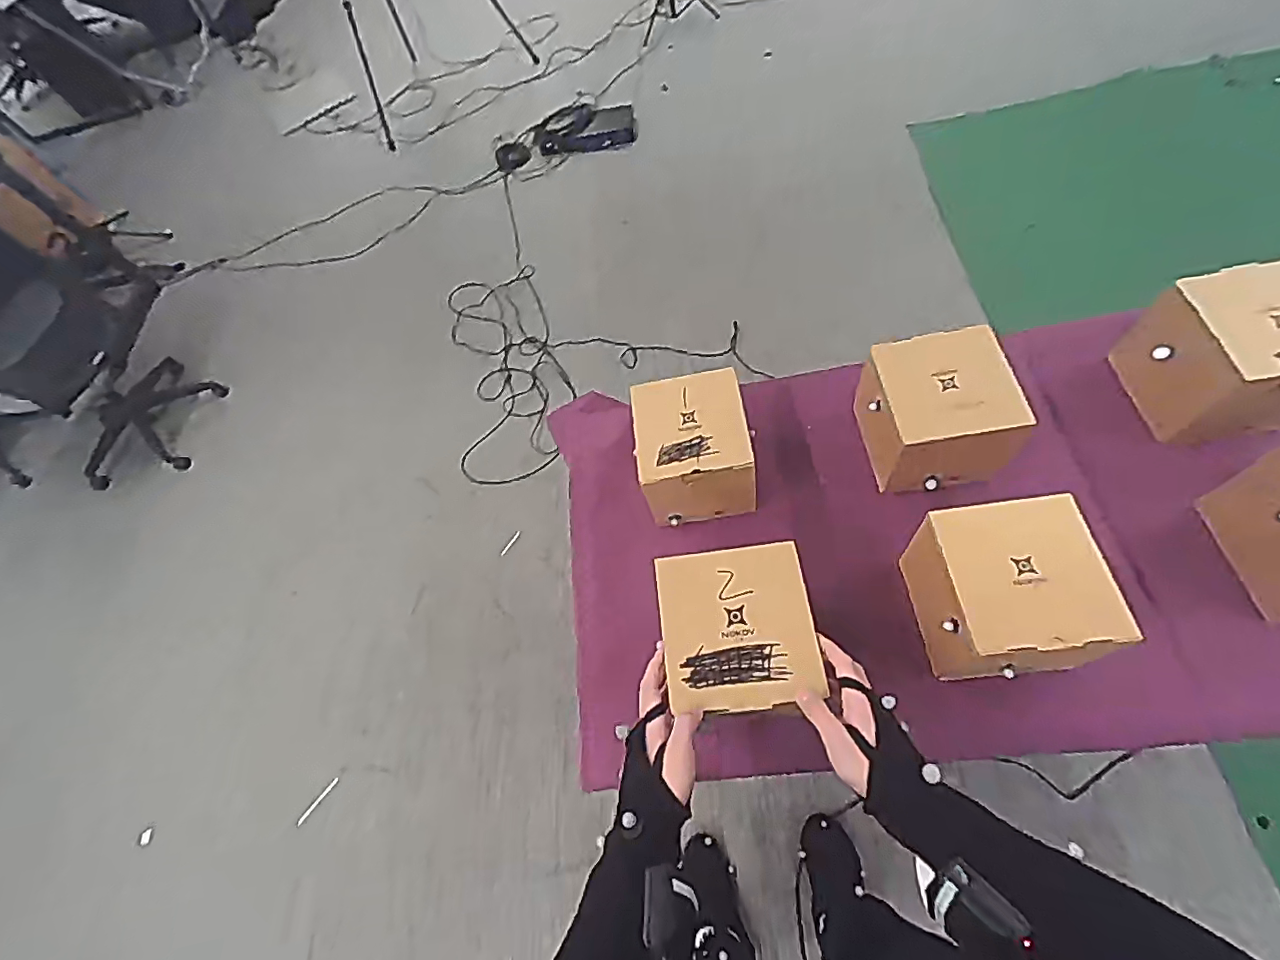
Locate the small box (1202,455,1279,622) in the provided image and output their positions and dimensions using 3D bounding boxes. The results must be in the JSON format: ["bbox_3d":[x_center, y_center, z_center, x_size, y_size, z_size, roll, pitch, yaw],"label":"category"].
[{"bbox_3d":[0.842,0.060,0.636,0.168,0.176,0.179,-8,60,10],"label":"small box"}]

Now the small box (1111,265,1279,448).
[{"bbox_3d":[0.829,-0.169,0.763,0.168,0.176,0.179,-10,61,9],"label":"small box"}]

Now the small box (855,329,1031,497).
[{"bbox_3d":[0.437,-0.095,0.817,0.168,0.176,0.179,-9,62,9],"label":"small box"}]

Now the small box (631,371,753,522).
[{"bbox_3d":[0.086,-0.043,0.866,0.168,0.176,0.179,-9,61,7],"label":"small box"}]
